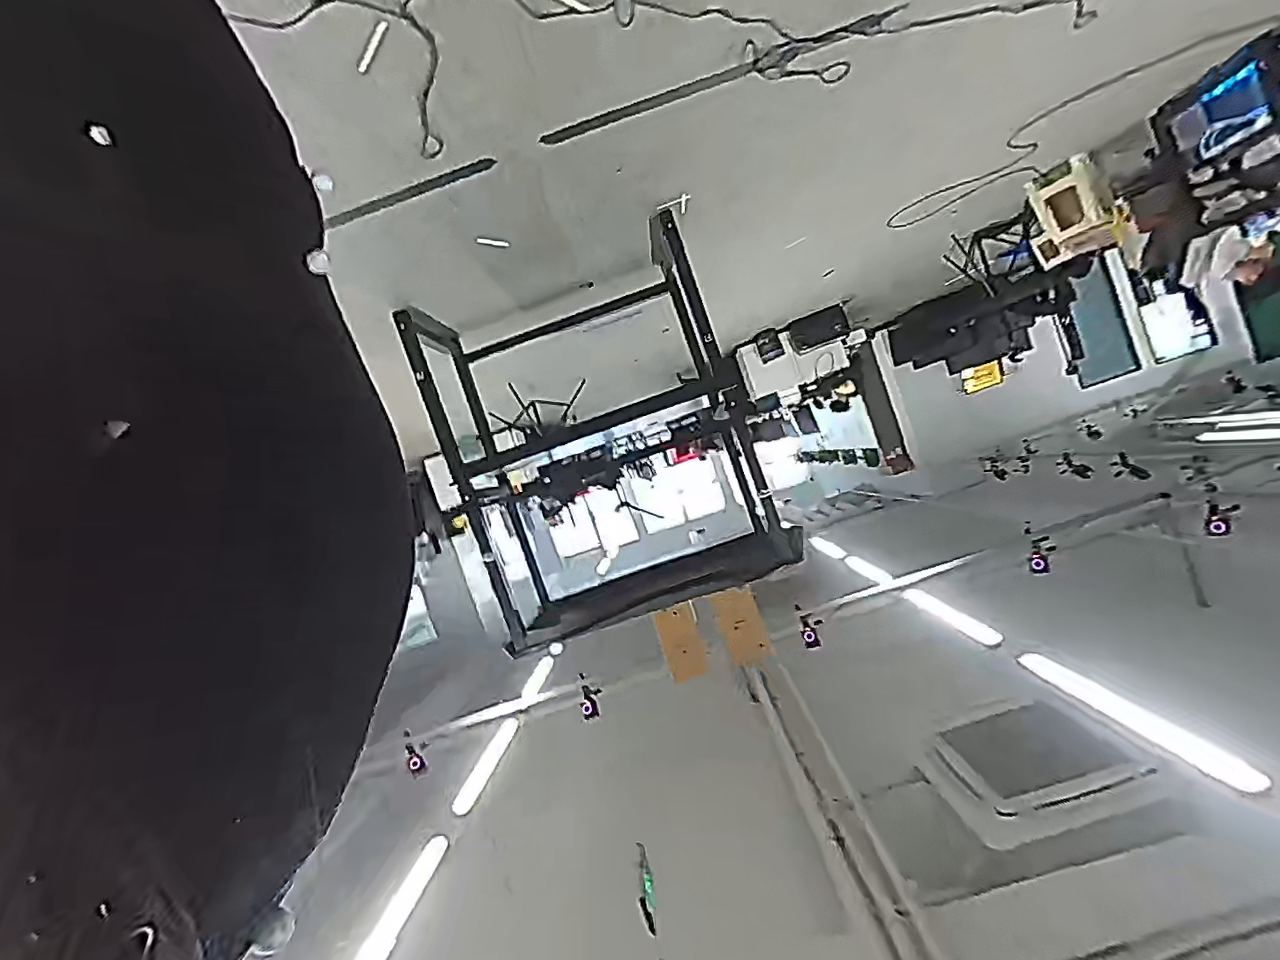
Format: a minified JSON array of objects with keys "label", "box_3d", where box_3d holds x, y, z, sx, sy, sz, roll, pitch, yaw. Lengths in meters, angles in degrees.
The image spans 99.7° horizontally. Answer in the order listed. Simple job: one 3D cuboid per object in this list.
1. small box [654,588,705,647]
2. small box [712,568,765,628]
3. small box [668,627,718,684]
[{"label":"small box","box_3d":[0.164,0.569,2.272,0.168,0.176,0.179,-20,-178,4]},{"label":"small box","box_3d":[0.404,0.485,2.247,0.168,0.176,0.179,-19,-177,6]},{"label":"small box","box_3d":[0.217,0.725,2.282,0.168,0.176,0.179,-20,-178,3]}]
